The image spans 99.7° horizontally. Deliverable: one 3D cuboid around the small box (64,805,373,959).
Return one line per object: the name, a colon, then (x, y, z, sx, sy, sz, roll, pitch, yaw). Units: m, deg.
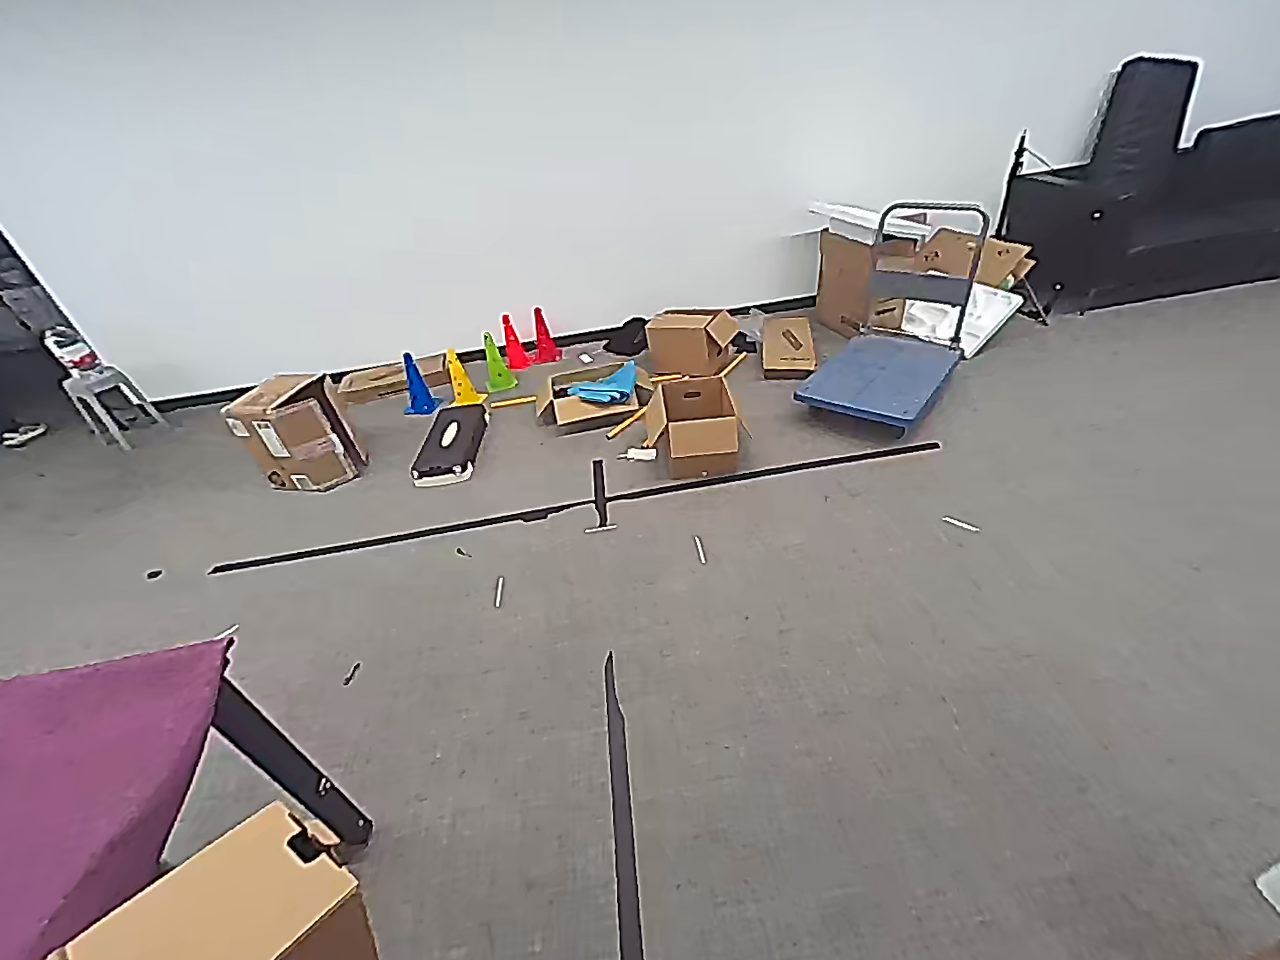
small box: (-0.377, 0.470, 0.511, 0.168, 0.176, 0.179, 13, 23, 32)
